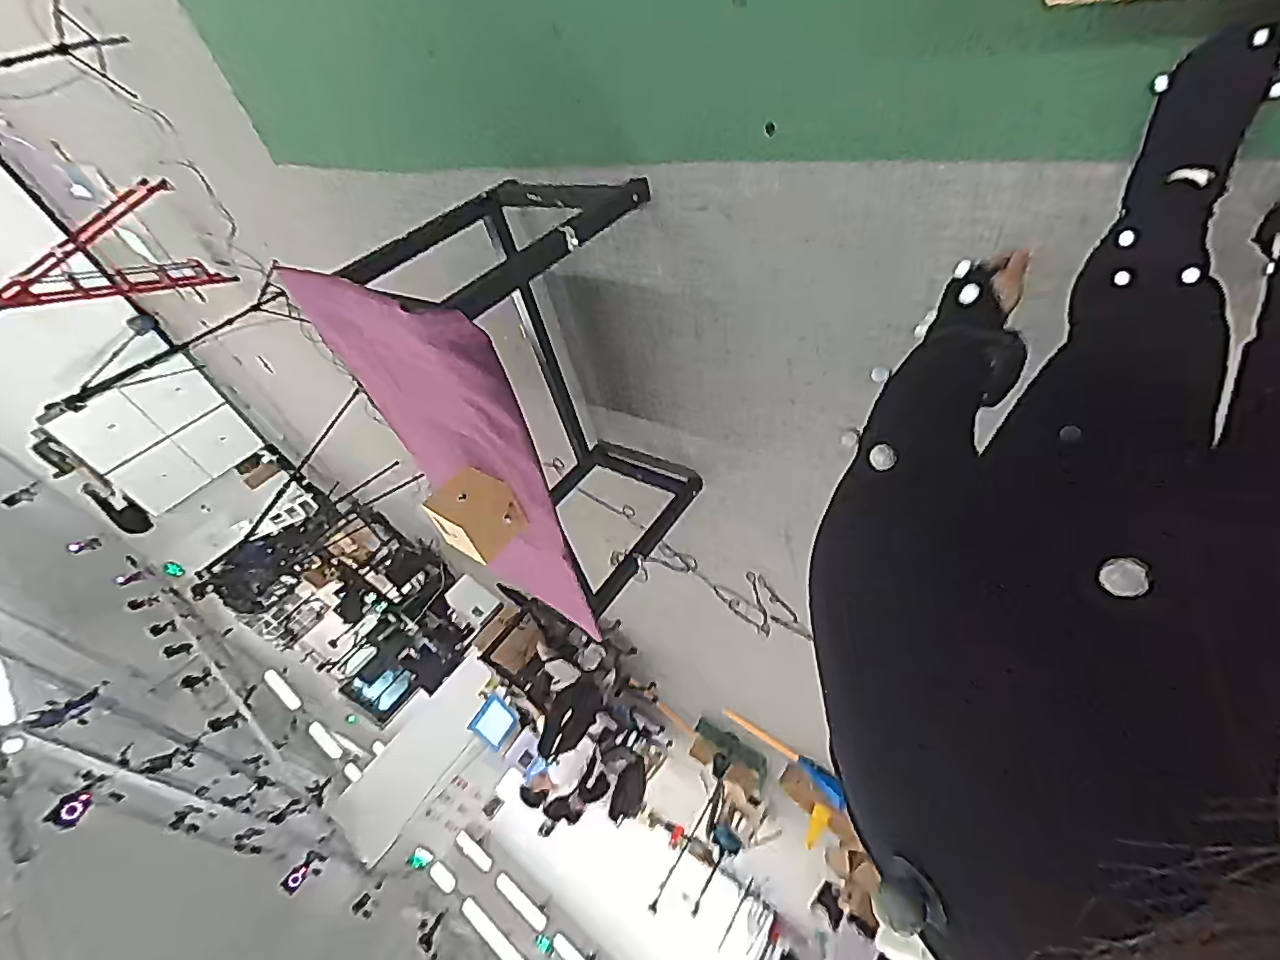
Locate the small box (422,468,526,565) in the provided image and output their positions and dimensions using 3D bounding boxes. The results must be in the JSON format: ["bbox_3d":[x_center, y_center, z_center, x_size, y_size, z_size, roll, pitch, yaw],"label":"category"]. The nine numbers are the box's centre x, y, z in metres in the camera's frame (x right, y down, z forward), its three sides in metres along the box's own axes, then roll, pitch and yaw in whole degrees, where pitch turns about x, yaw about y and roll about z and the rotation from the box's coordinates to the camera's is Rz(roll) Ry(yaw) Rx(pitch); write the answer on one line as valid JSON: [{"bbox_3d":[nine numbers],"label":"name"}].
[{"bbox_3d":[-0.441,0.090,1.462,0.179,0.176,0.168,22,145,32],"label":"small box"}]
